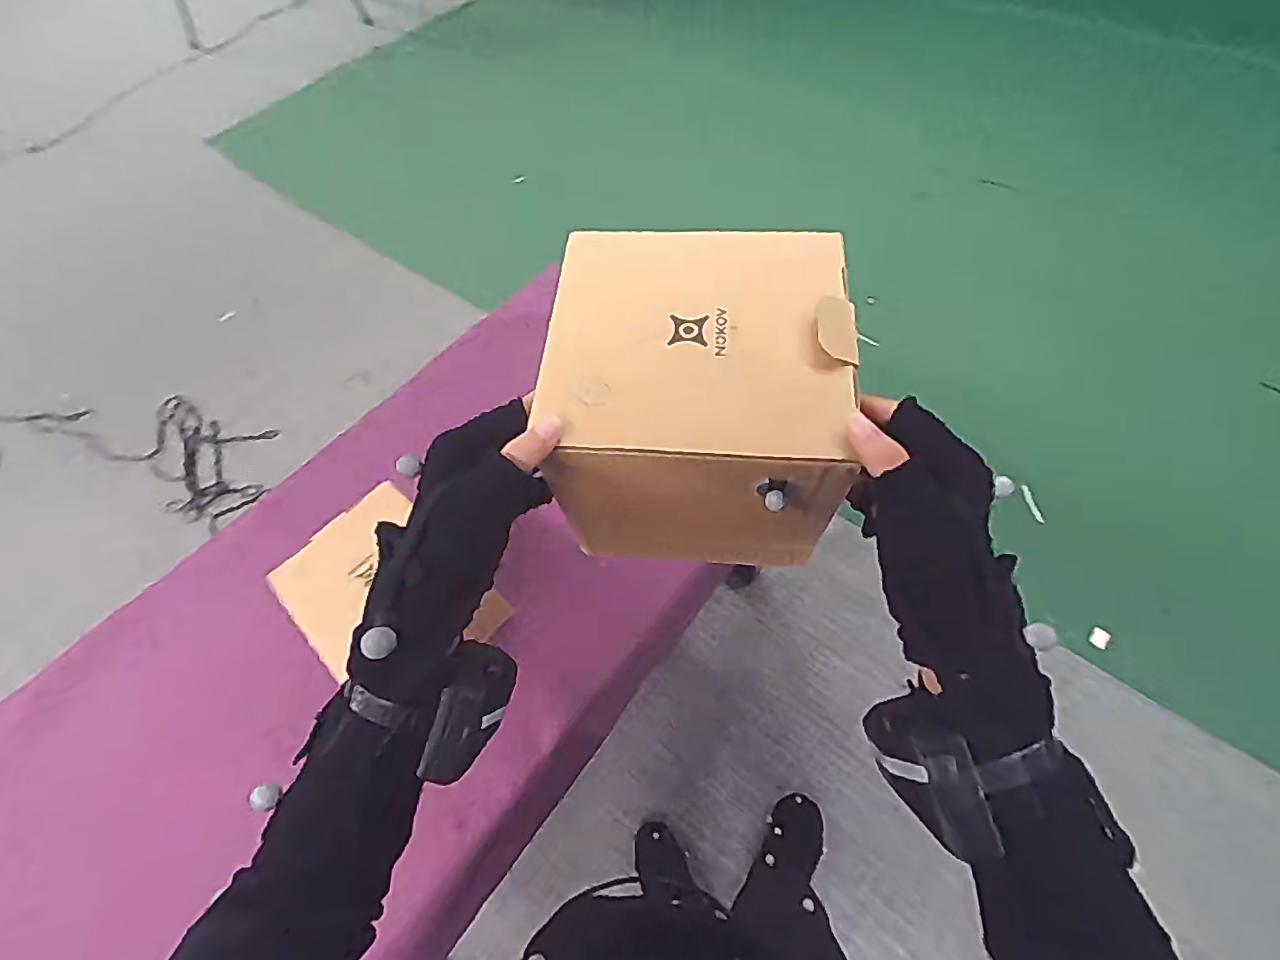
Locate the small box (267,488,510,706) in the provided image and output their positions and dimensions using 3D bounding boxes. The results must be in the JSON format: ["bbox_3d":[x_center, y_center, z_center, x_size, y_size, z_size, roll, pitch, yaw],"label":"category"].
[{"bbox_3d":[-0.290,0.149,0.657,0.179,0.176,0.168,38,71,23],"label":"small box"}]

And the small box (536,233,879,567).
[{"bbox_3d":[0.045,-0.045,0.378,0.179,0.176,0.168,3,63,6],"label":"small box"}]
